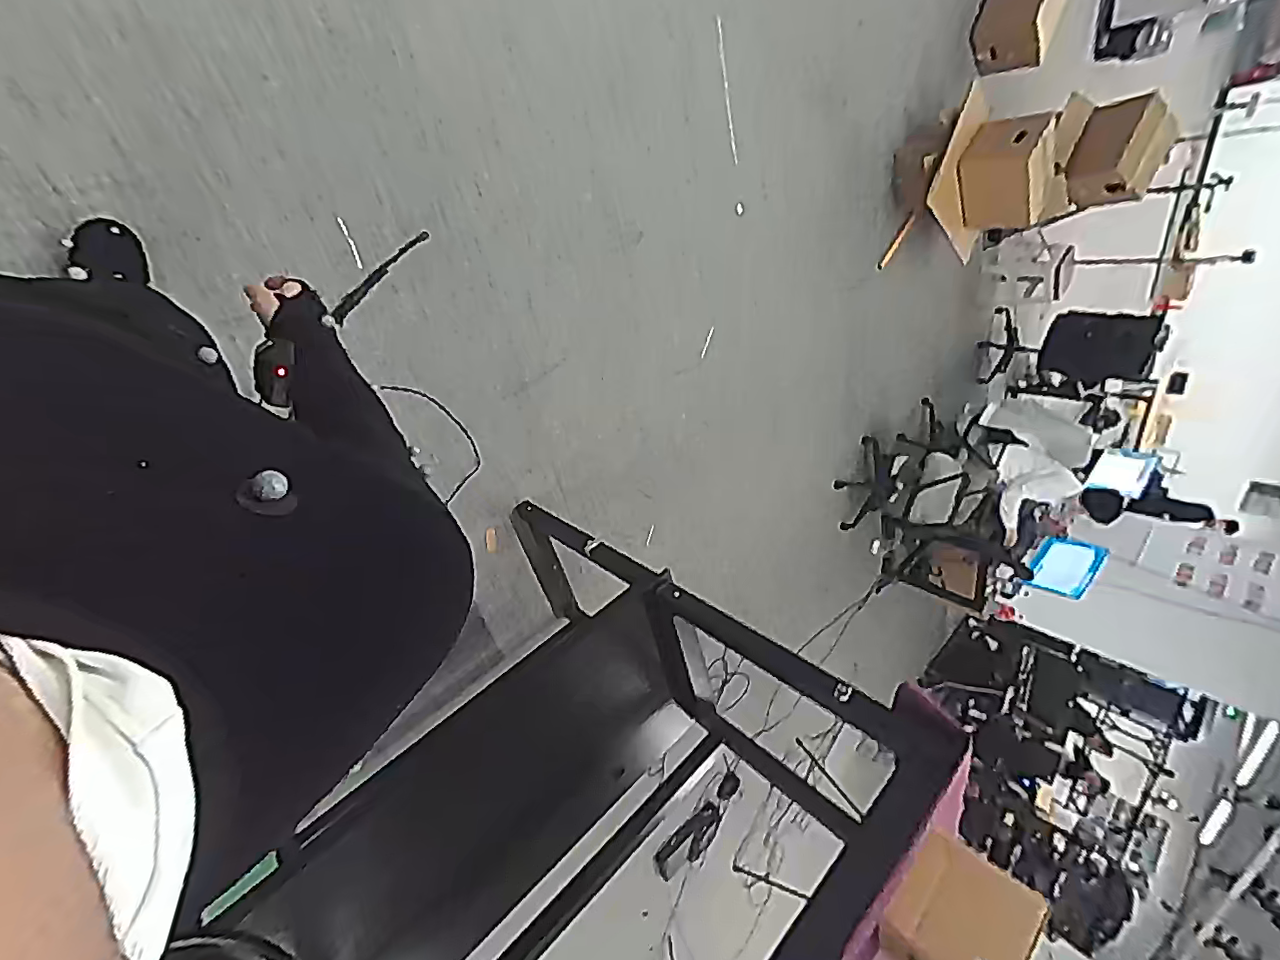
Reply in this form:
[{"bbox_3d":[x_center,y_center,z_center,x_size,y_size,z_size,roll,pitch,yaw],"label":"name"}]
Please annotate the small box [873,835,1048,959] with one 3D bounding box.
[{"bbox_3d":[0.479,0.696,0.825,0.179,0.176,0.168,-36,127,-26],"label":"small box"}]
